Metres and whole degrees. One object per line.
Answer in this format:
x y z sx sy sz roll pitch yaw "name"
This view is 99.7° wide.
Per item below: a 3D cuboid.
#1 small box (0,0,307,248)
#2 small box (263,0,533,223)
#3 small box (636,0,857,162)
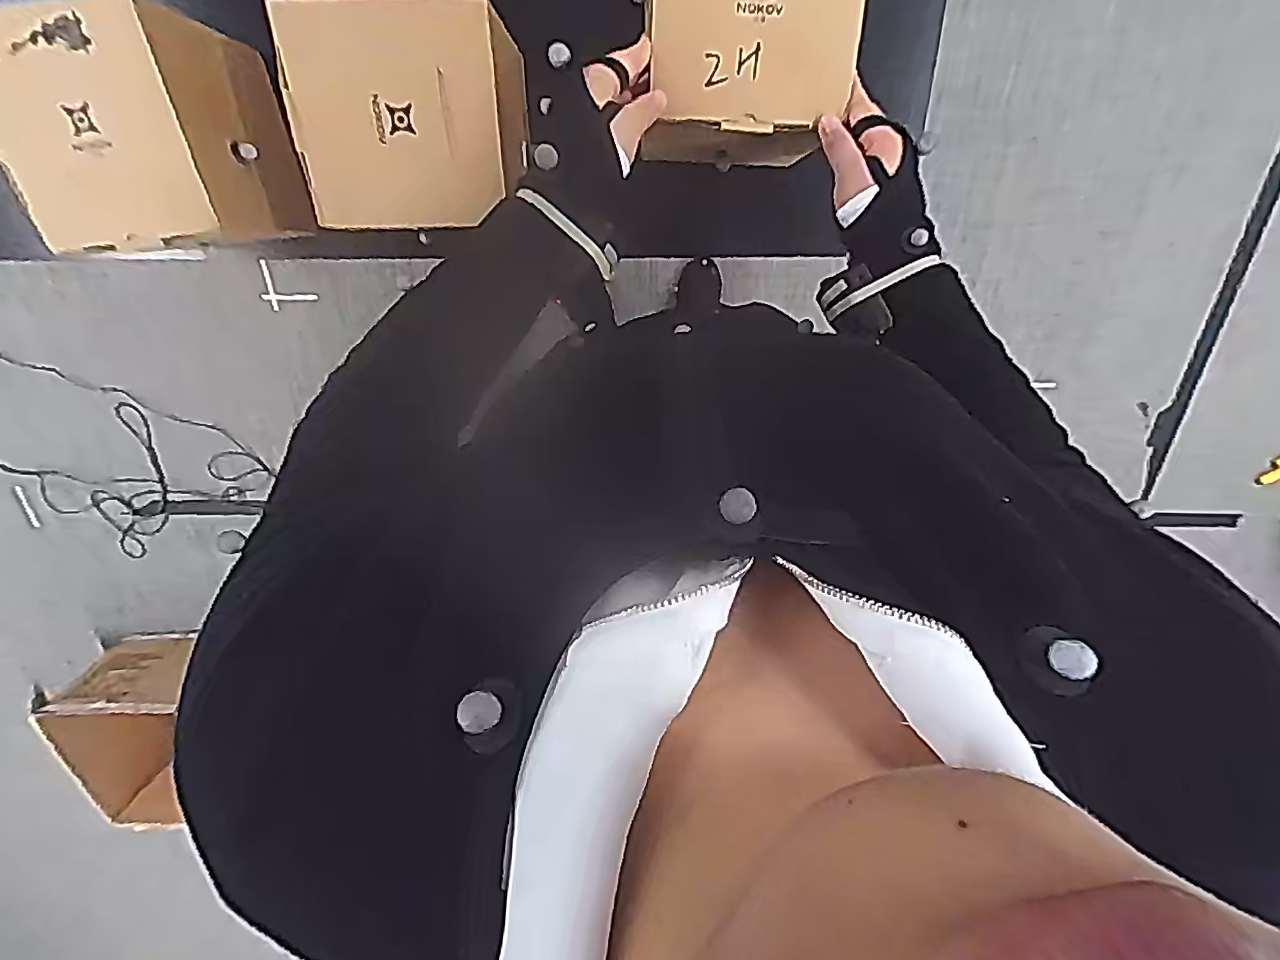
-0.467 -0.332 0.524 0.168 0.176 0.179 -6 115 2 "small box"
-0.210 -0.344 0.525 0.179 0.176 0.168 -1 115 -2 "small box"
0.083 -0.406 0.487 0.168 0.176 0.179 1 111 -2 "small box"
